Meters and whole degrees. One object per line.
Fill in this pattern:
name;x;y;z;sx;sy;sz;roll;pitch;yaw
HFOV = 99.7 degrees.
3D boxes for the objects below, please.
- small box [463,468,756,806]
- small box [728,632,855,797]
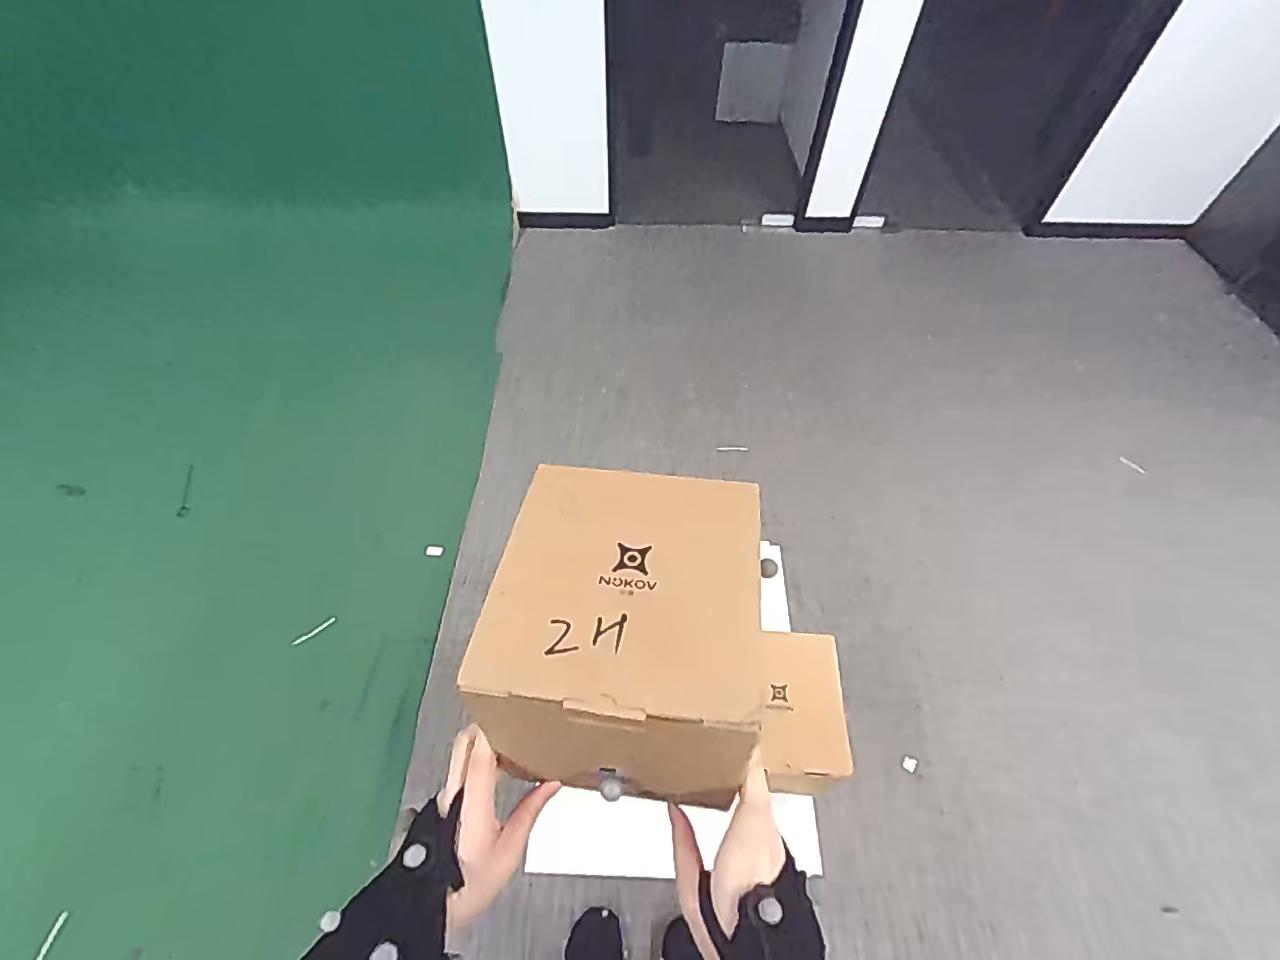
small box;-0.007;0.115;0.406;0.168;0.176;0.179;5;47;7
small box;0.178;0.327;0.755;0.168;0.176;0.179;3;55;2
